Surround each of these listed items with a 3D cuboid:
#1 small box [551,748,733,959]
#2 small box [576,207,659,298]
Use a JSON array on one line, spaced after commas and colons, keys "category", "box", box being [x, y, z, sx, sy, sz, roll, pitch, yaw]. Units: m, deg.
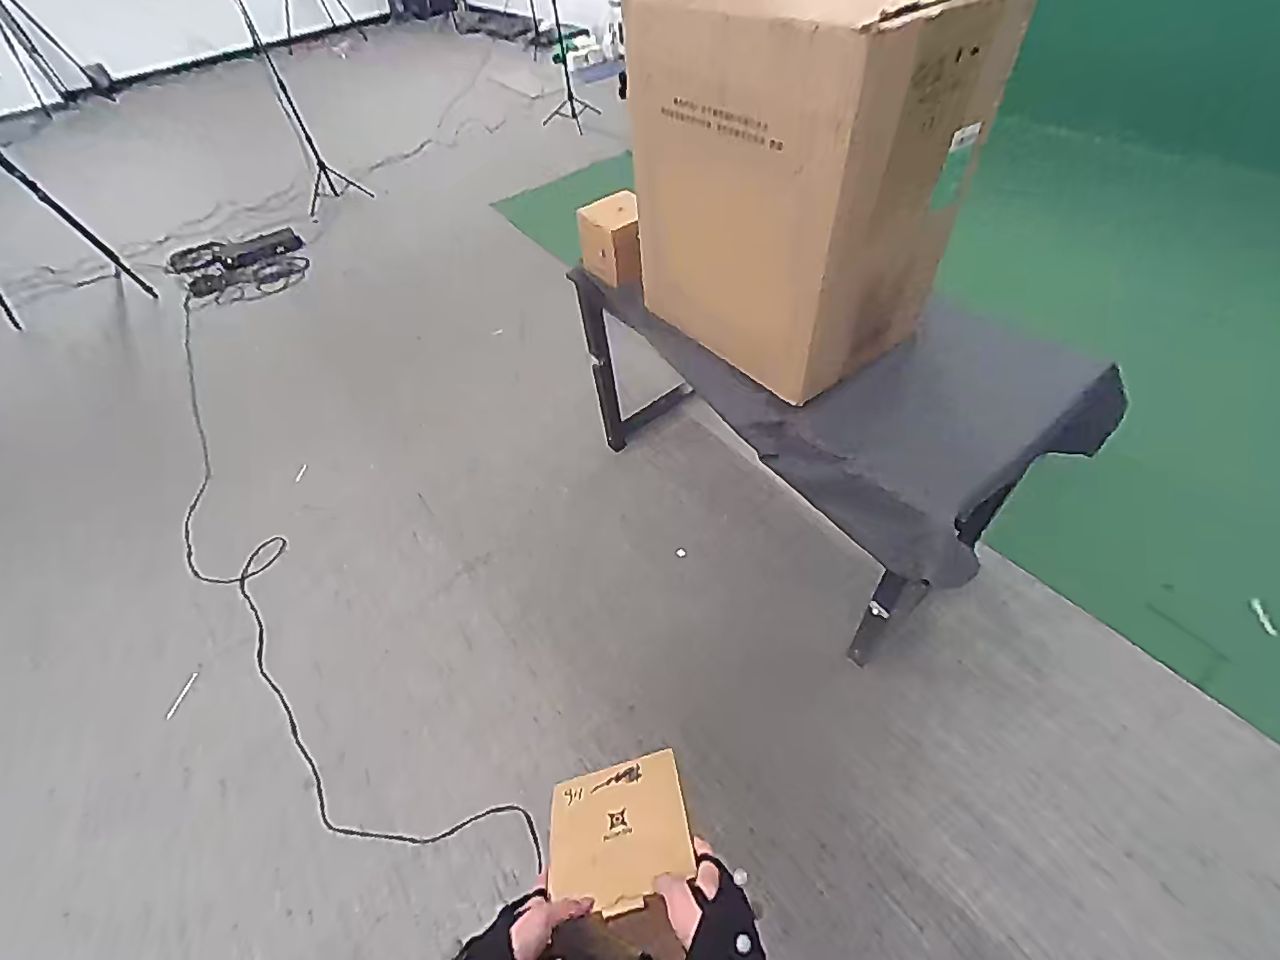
[{"category": "small box", "box": [0.001, 0.476, 0.655, 0.168, 0.176, 0.179, -17, 19, -1]}, {"category": "small box", "box": [-0.057, -0.644, 1.537, 0.179, 0.176, 0.168, -33, 56, -23]}]
